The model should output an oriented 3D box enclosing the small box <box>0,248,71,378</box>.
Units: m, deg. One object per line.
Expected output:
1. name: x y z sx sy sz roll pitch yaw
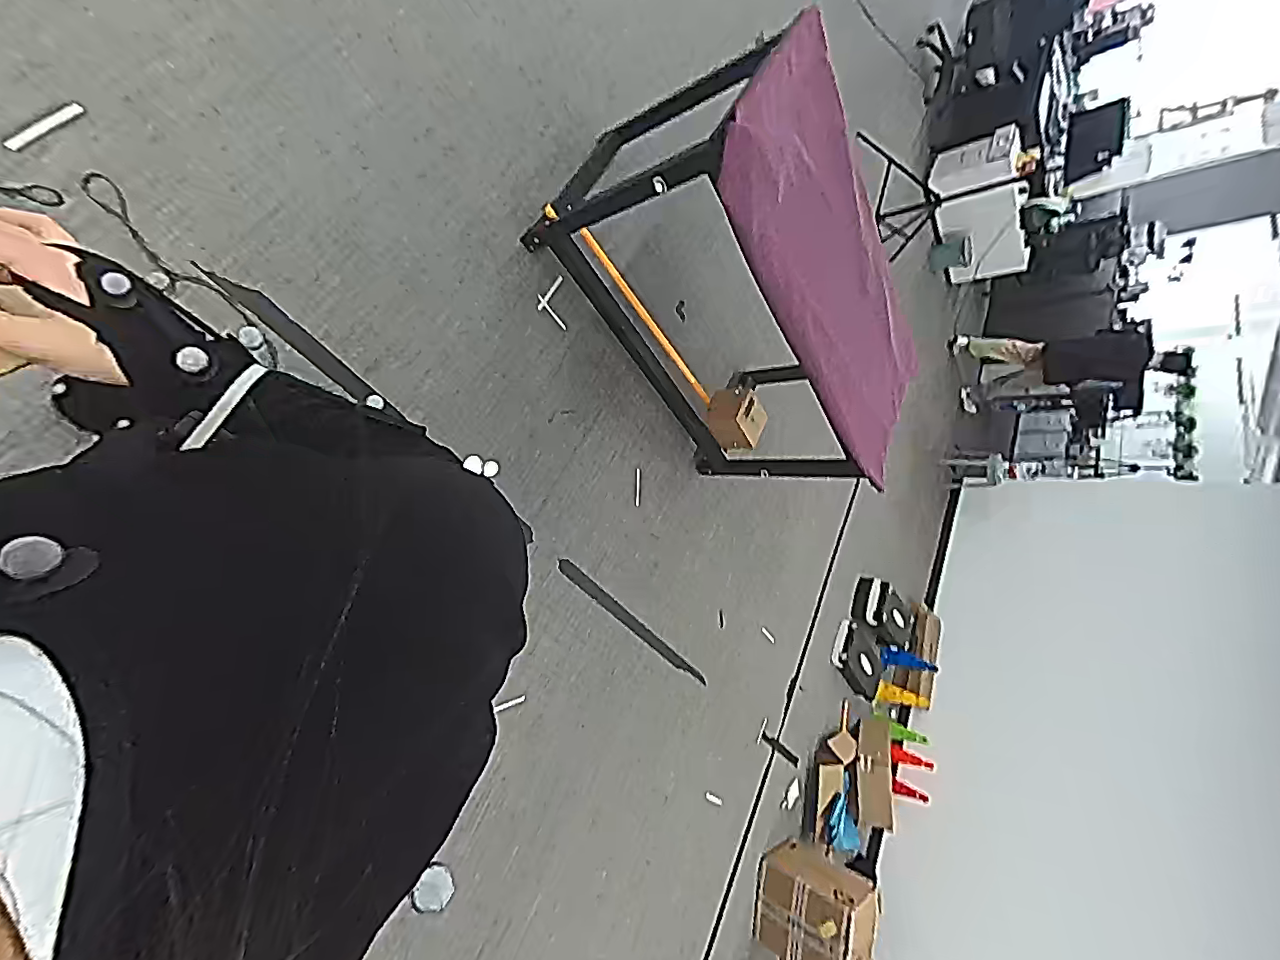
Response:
1. small box: -0.477 -0.115 0.292 0.168 0.176 0.179 -39 128 -25
